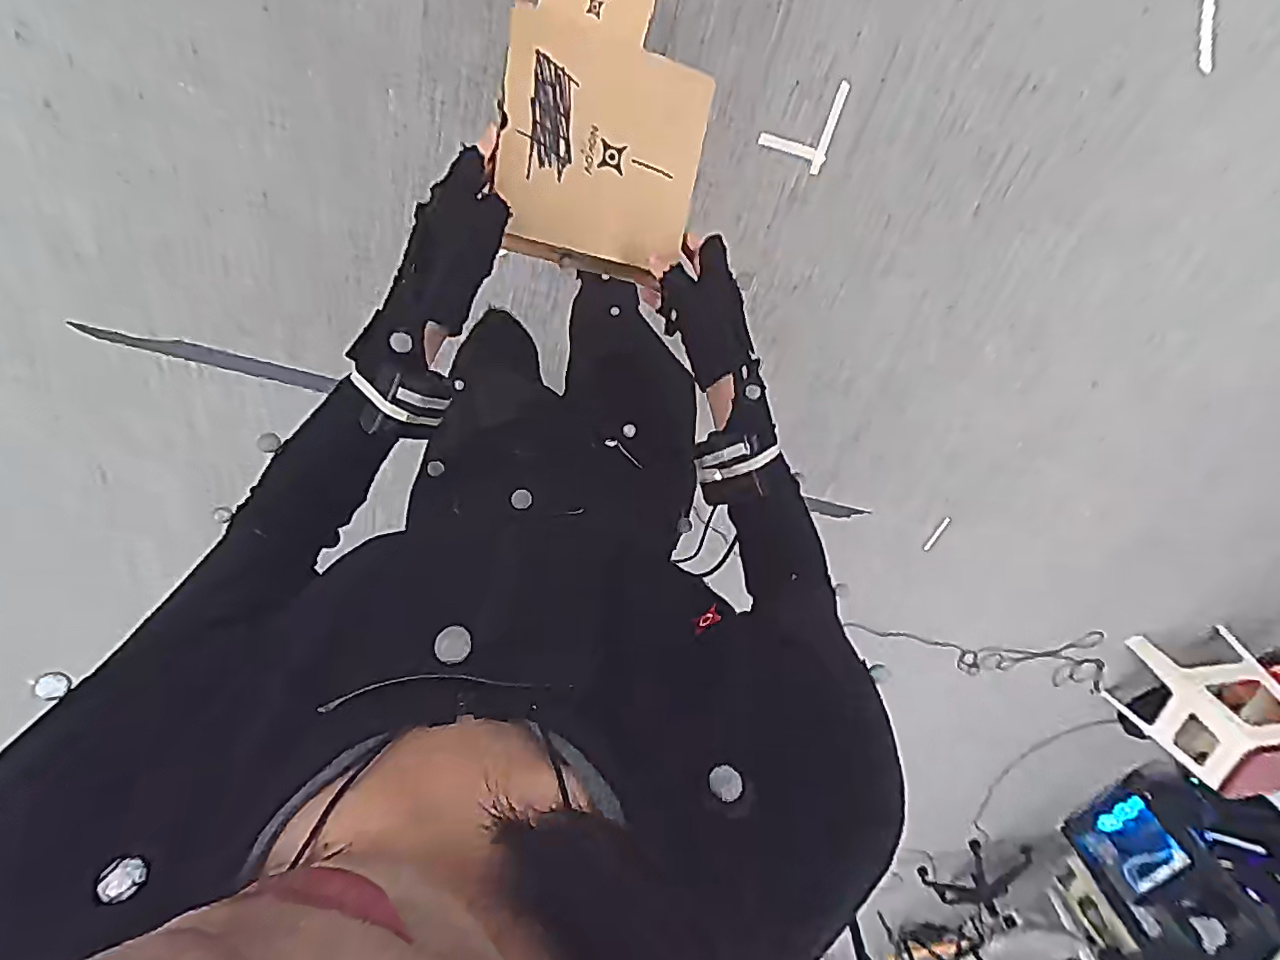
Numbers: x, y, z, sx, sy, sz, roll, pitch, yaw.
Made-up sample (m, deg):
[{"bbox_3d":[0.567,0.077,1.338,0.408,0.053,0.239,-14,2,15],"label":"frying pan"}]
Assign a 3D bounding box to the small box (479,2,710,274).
[{"bbox_3d":[-0.056,-0.309,0.538,0.179,0.176,0.168,8,106,-17],"label":"small box"}]
